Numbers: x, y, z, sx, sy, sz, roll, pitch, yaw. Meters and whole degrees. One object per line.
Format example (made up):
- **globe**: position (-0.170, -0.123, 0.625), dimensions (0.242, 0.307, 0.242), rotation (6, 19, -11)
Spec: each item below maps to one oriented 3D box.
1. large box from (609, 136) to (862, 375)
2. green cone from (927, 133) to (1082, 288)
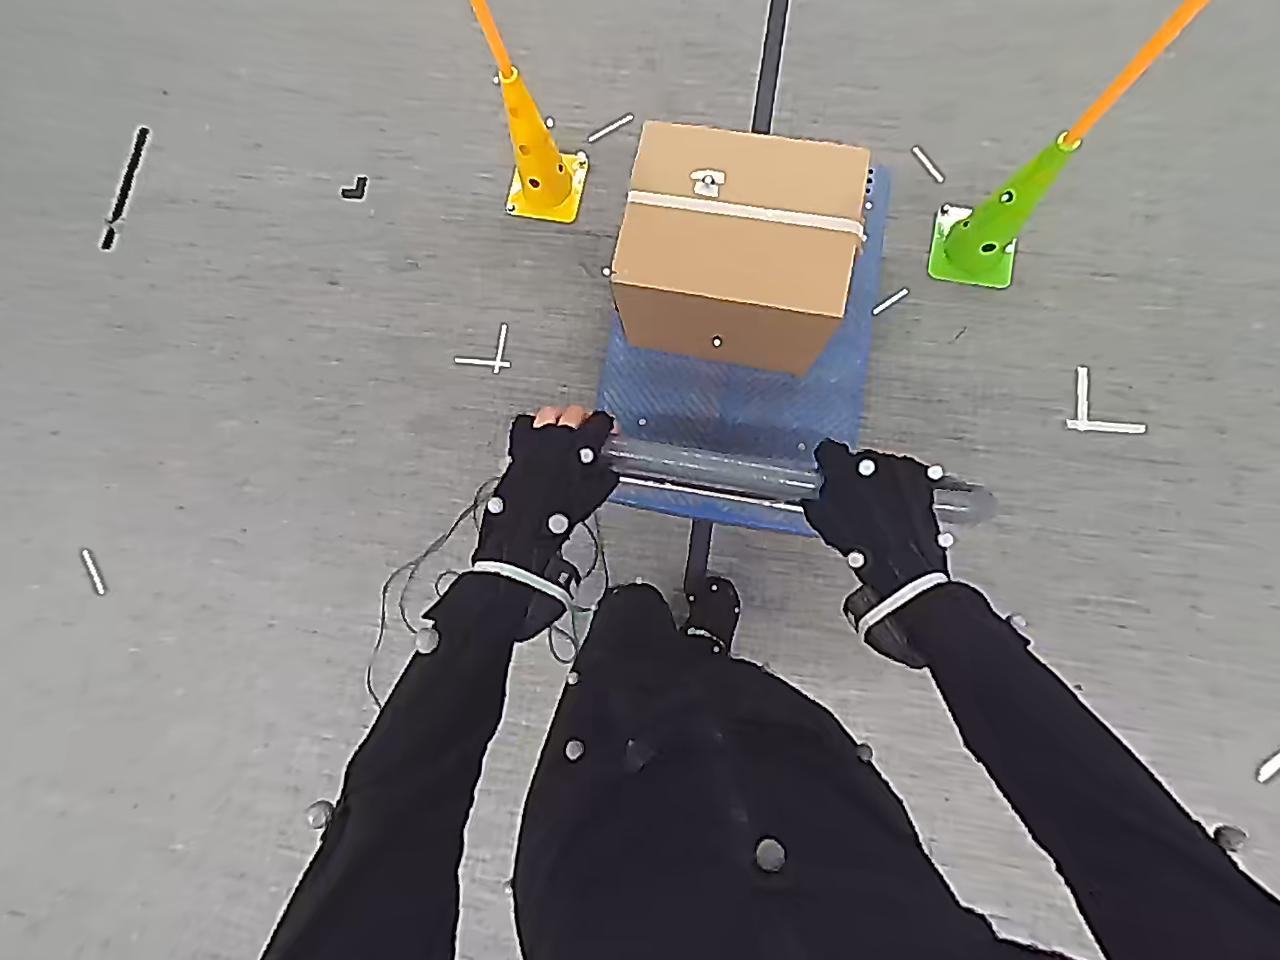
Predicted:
- **large box**: position (0.183, -0.428, 1.093), dimensions (0.408, 0.320, 0.320), rotation (11, 83, 7)
- **green cone**: position (0.832, -0.619, 1.208), dimensions (0.202, 0.368, 0.200), rotation (12, 83, 5)
